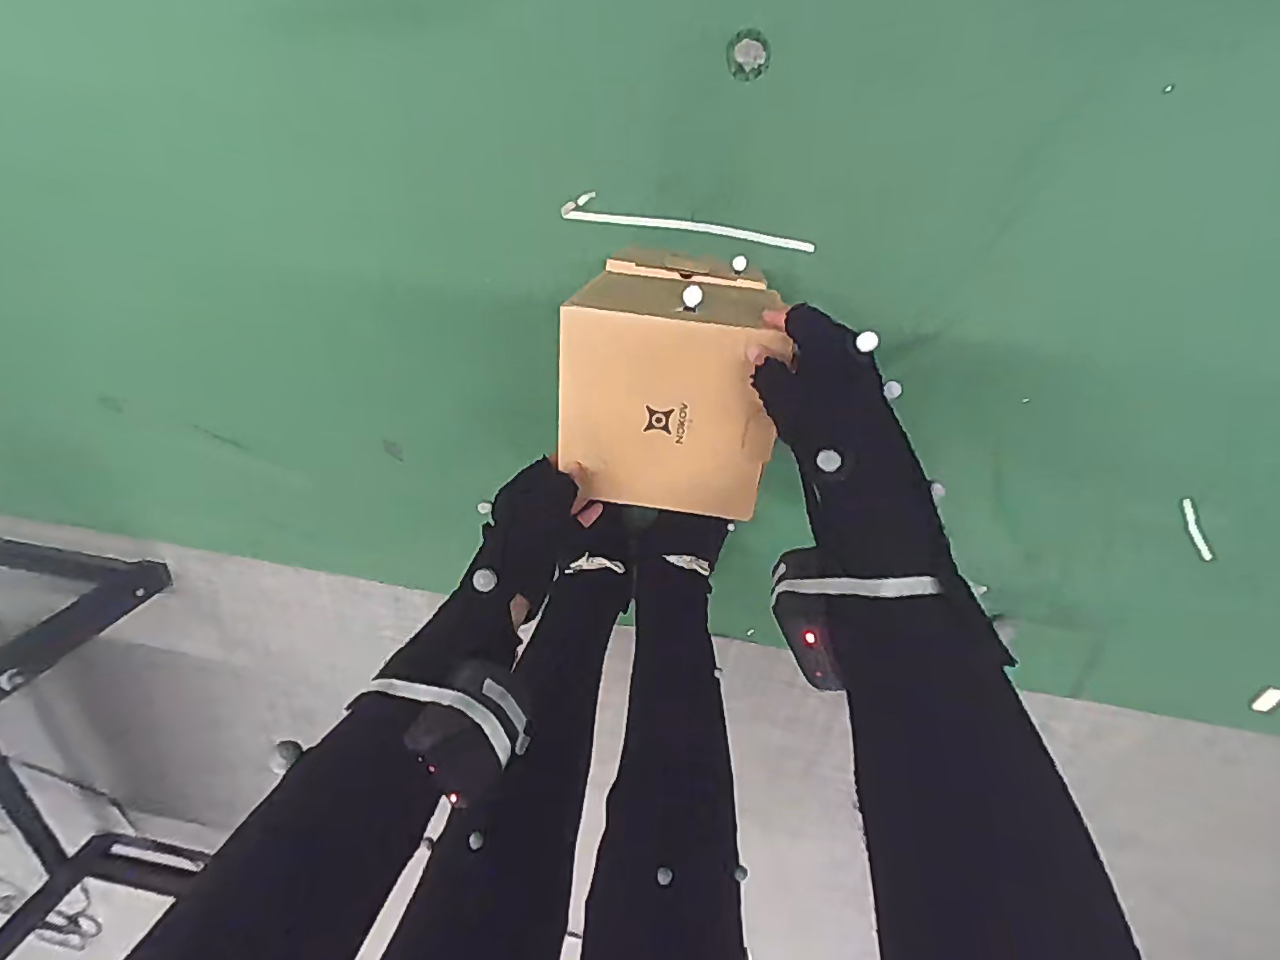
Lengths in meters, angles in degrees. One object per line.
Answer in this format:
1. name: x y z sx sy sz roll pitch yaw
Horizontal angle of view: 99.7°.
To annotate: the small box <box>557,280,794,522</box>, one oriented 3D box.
1. small box: 0.029 -0.084 0.505 0.179 0.176 0.168 7 120 3
